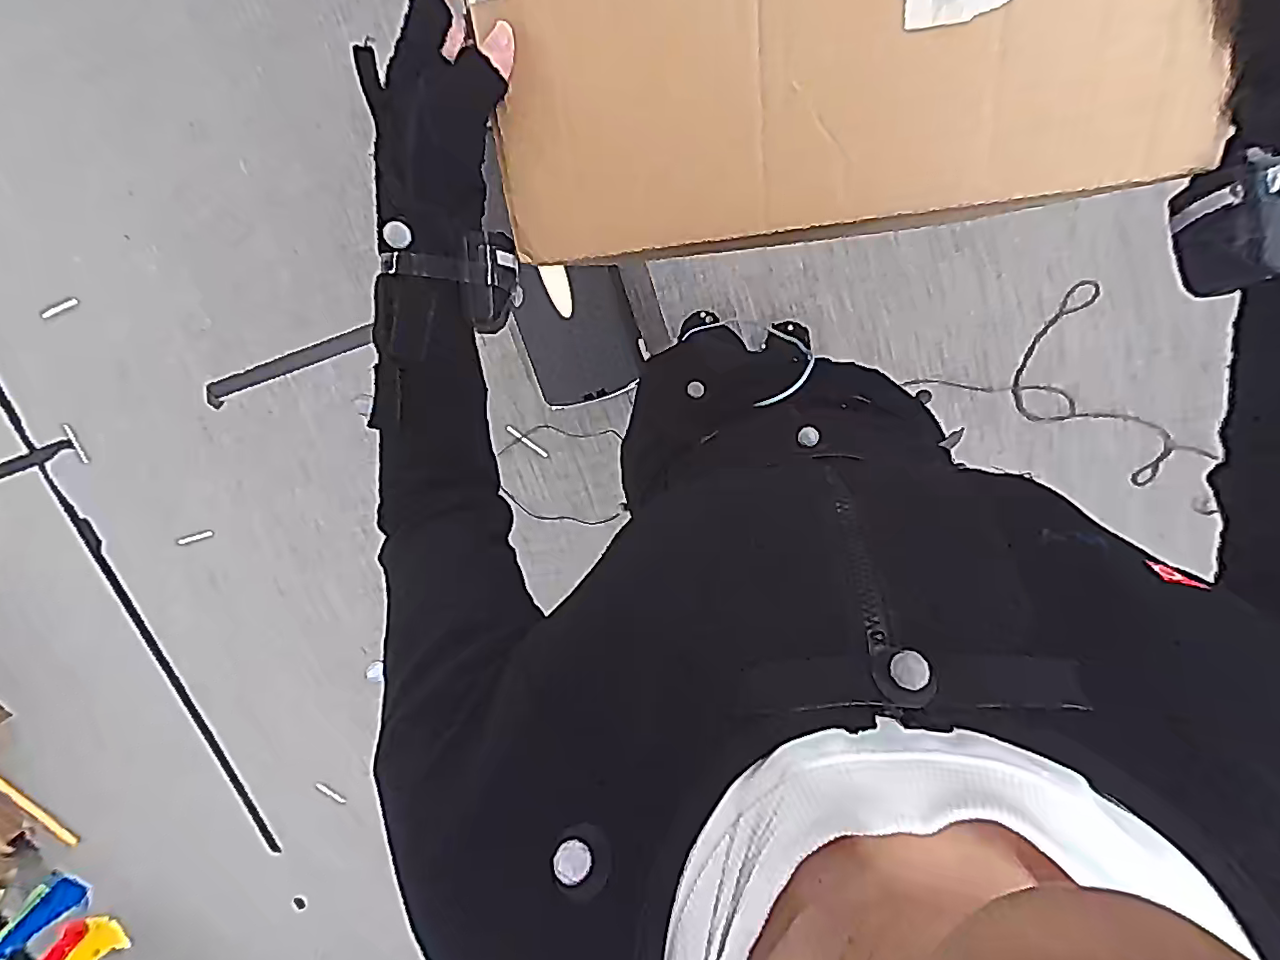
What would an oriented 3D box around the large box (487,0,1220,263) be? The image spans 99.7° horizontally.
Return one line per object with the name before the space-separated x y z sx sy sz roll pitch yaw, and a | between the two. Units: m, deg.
large box | 0.119 -0.367 0.429 0.408 0.320 0.320 -4 111 10
